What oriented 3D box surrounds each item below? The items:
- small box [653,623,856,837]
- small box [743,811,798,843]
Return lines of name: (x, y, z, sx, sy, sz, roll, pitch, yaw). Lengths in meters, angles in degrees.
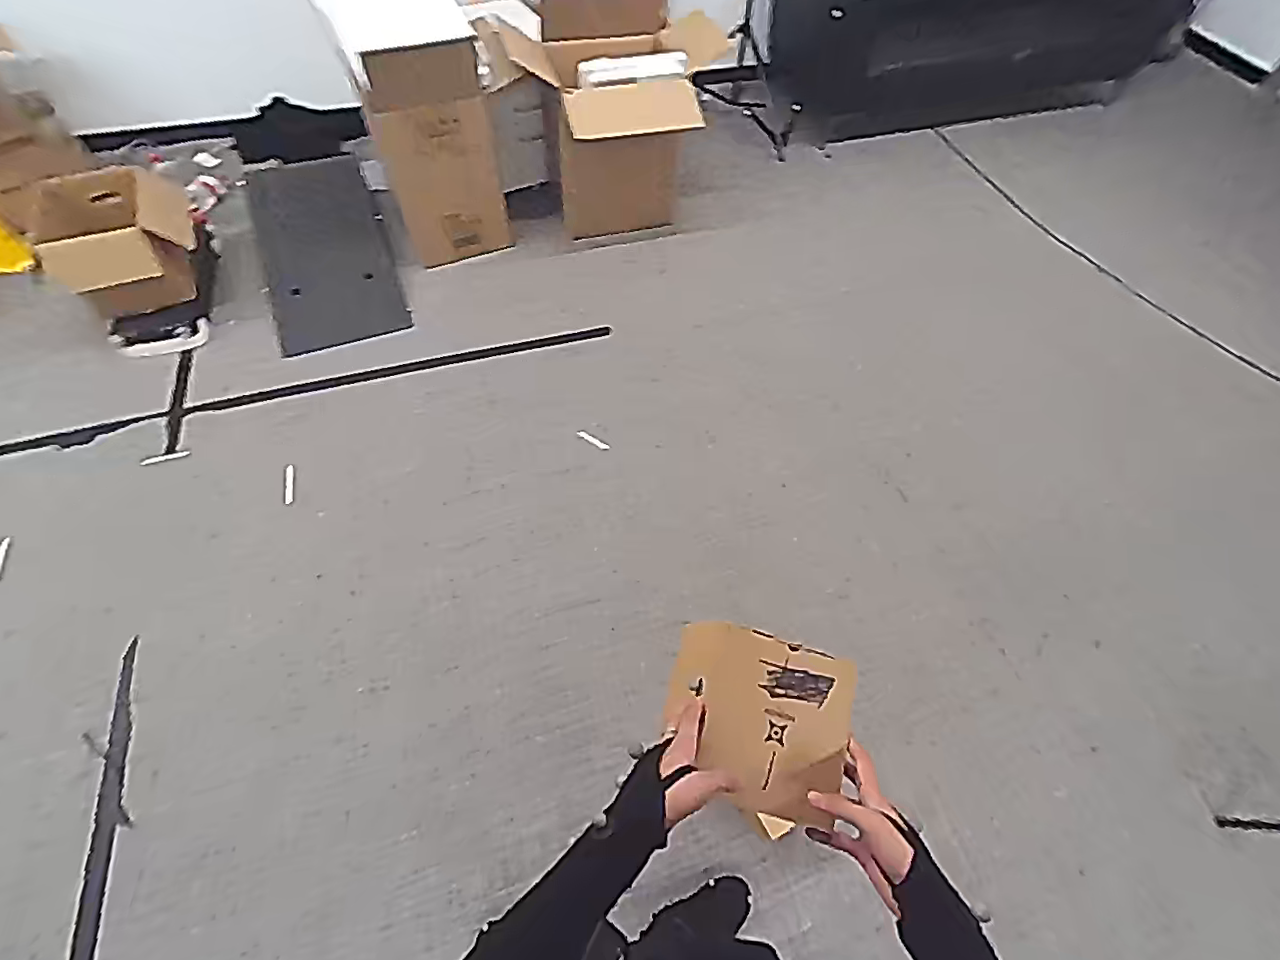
small box: (0.127, 0.281, 0.645, 0.168, 0.176, 0.179, 20, 72, -6)
small box: (0.332, 0.745, 1.311, 0.179, 0.176, 0.168, -24, 61, -16)
